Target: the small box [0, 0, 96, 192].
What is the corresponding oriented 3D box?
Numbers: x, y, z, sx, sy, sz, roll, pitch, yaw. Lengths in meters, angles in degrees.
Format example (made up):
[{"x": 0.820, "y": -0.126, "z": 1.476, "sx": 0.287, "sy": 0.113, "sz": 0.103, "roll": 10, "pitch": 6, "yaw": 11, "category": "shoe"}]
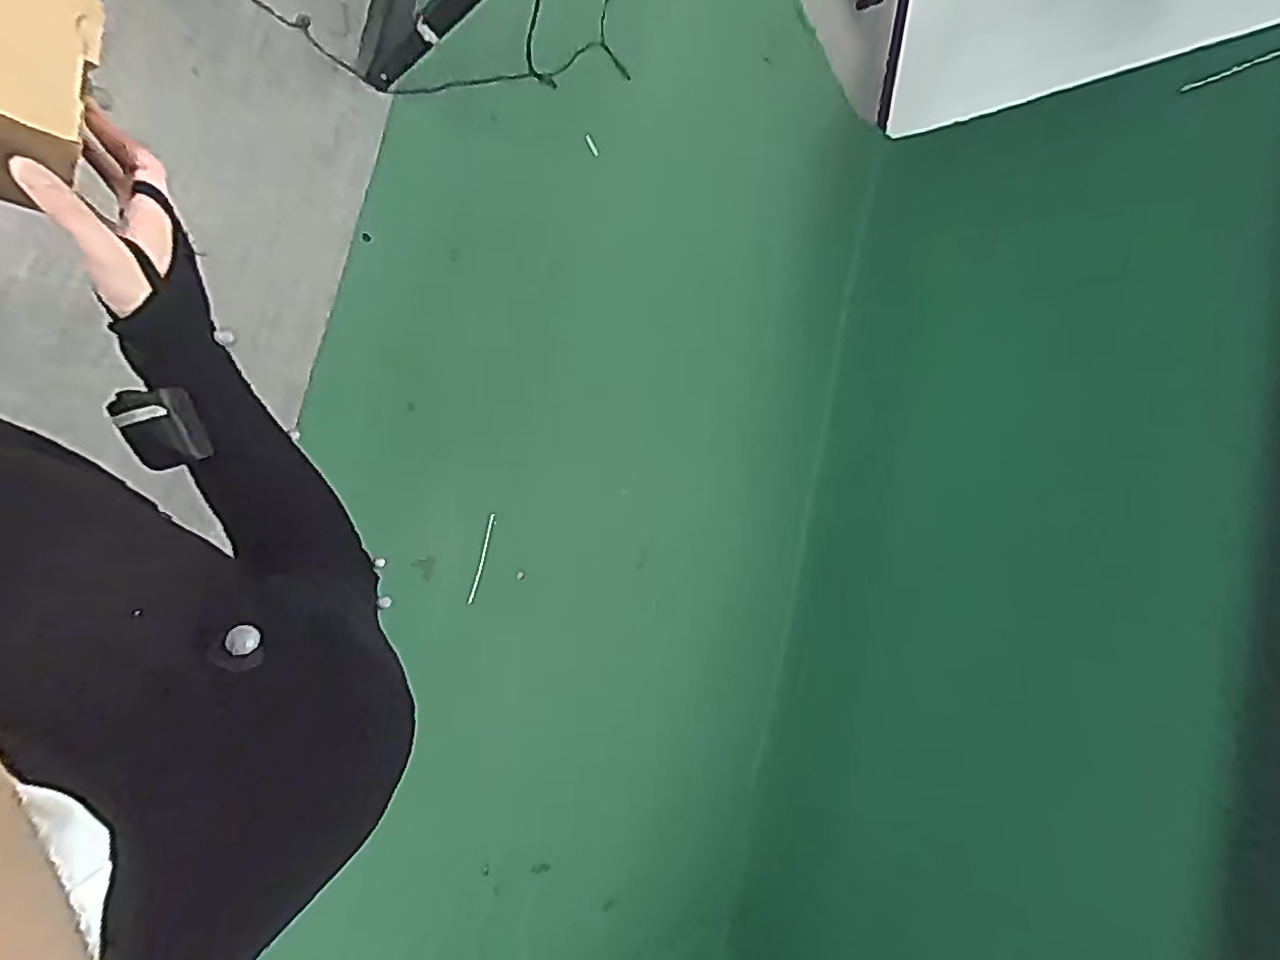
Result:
[{"x": -0.482, "y": -0.316, "z": 0.345, "sx": 0.179, "sy": 0.176, "sz": 0.168, "roll": 6, "pitch": 84, "yaw": -50, "category": "small box"}]
